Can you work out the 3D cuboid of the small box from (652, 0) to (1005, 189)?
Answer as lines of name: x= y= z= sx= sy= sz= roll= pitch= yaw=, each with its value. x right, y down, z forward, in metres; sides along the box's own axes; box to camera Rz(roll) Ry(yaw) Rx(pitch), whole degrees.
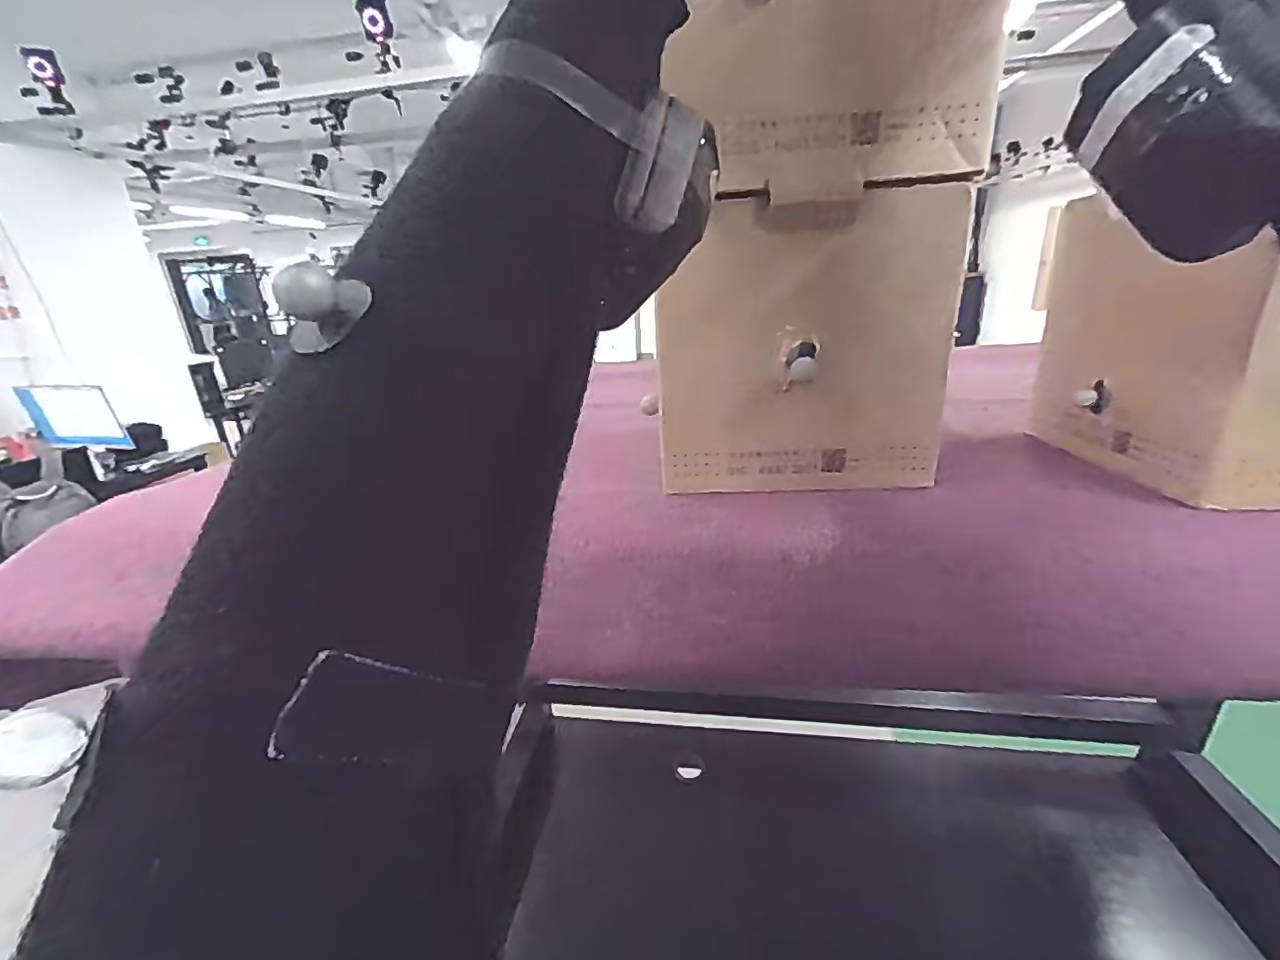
small box: x=0.091 y=-0.256 z=0.317 sx=0.168 sy=0.176 sz=0.179 roll=-2 pitch=19 yaw=3

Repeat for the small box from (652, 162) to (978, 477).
small box: x=0.099 y=-0.105 z=0.377 sx=0.168 sy=0.176 sz=0.179 roll=-1 pitch=20 yaw=5
